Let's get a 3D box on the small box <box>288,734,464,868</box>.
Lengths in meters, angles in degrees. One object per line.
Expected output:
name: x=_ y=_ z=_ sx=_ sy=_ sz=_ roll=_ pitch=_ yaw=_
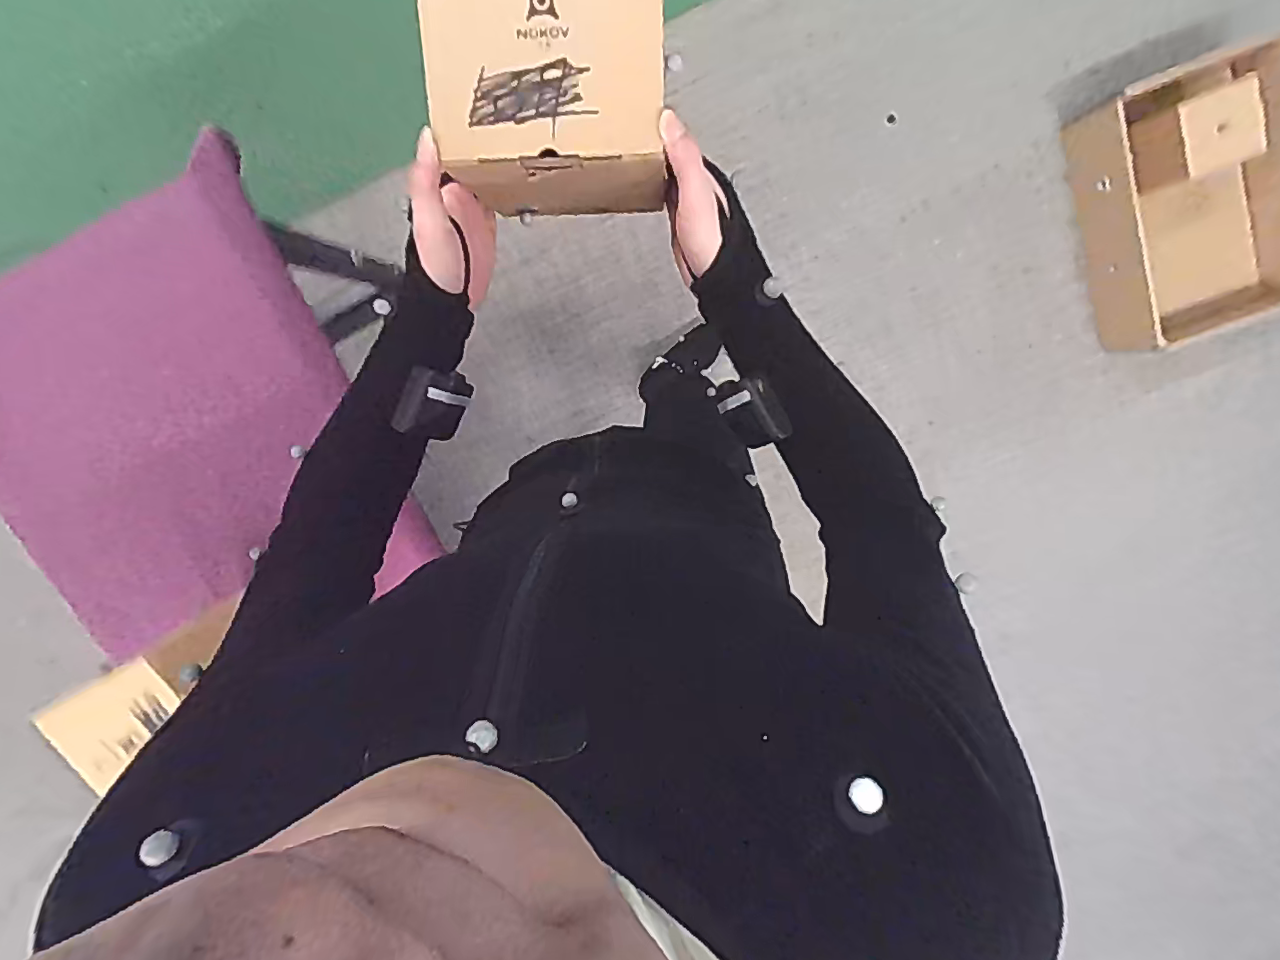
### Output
small box: x=-0.436 y=0.580 z=0.924 sx=0.179 sy=0.176 sz=0.168 roll=-30 pitch=100 yaw=6

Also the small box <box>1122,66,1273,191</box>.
small box: x=1.302 y=-0.815 z=1.273 sx=0.179 sy=0.176 sz=0.168 roll=-21 pitch=101 yaw=5
